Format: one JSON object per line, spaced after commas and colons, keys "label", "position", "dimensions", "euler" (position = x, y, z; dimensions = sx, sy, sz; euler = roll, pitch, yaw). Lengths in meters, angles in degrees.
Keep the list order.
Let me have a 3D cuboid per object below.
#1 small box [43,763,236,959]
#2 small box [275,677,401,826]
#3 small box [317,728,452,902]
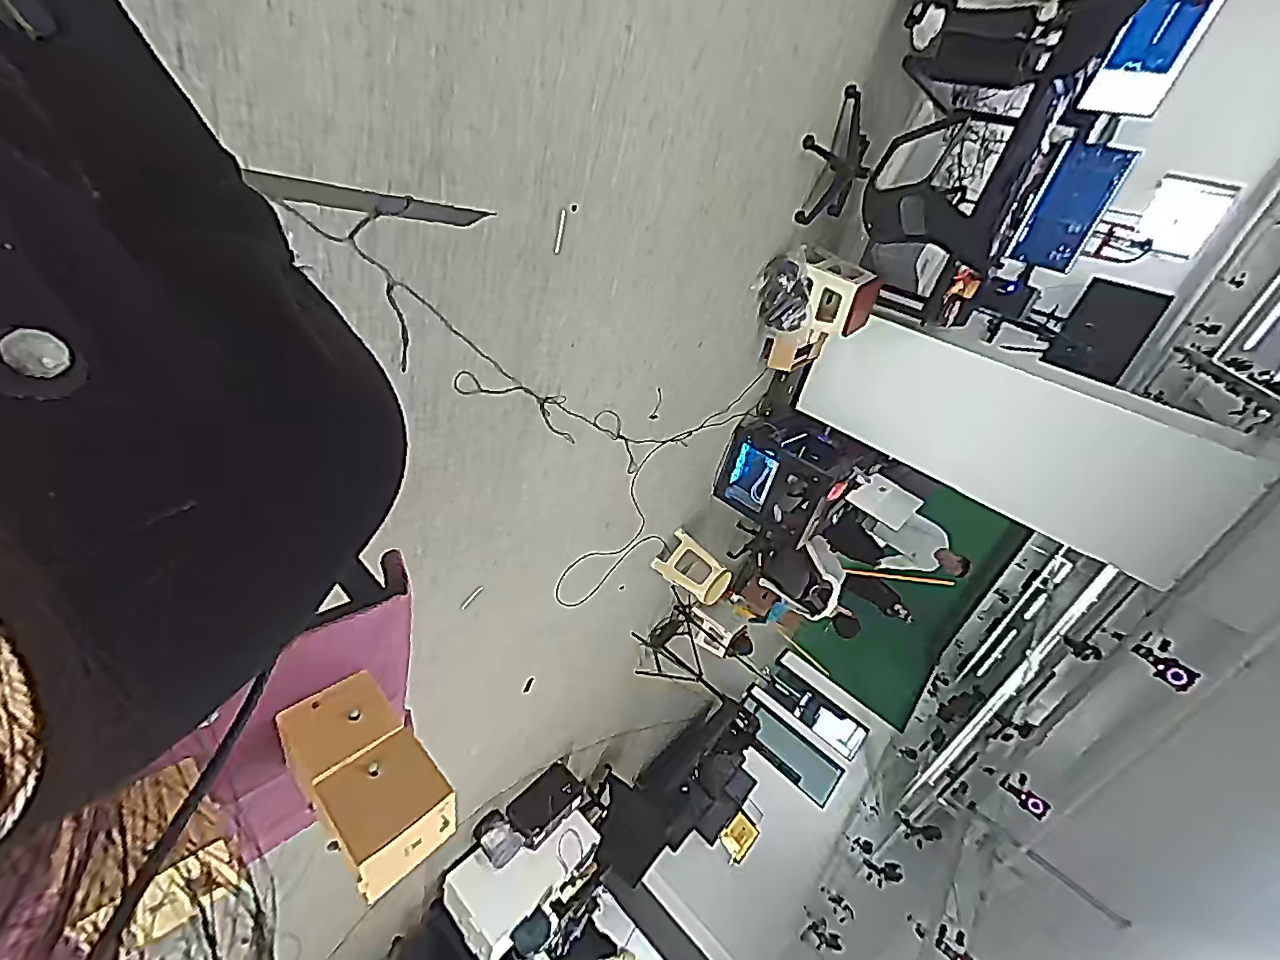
{"label": "small box", "position": [-0.779, 0.594, 0.851], "dimensions": [0.179, 0.176, 0.168], "euler": [-21, 136, -45]}
{"label": "small box", "position": [-0.590, 0.520, 1.065], "dimensions": [0.168, 0.176, 0.179], "euler": [-24, 139, -45]}
{"label": "small box", "position": [-0.469, 0.605, 0.995], "dimensions": [0.179, 0.176, 0.168], "euler": [-25, 139, -43]}
